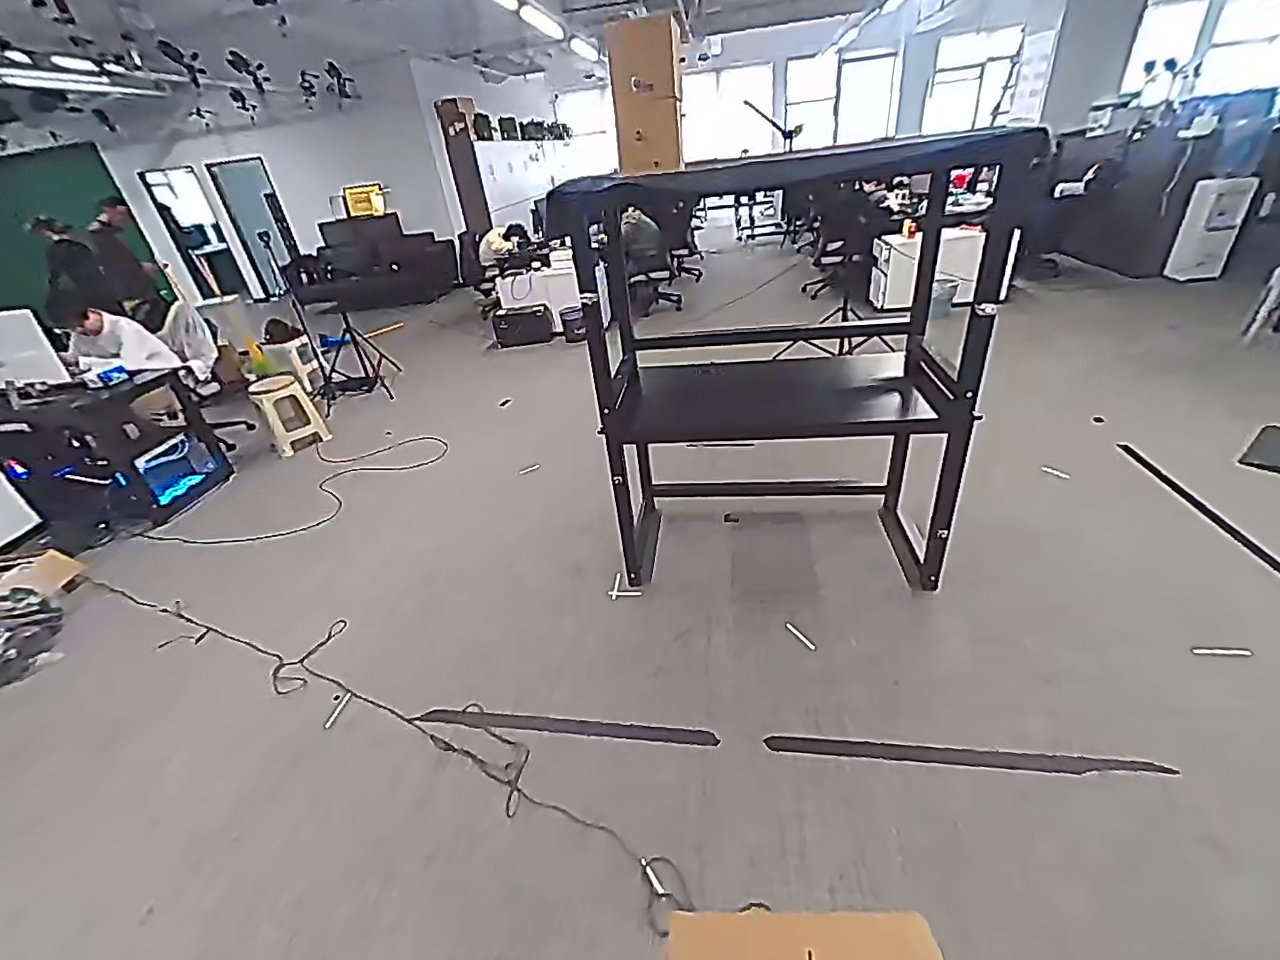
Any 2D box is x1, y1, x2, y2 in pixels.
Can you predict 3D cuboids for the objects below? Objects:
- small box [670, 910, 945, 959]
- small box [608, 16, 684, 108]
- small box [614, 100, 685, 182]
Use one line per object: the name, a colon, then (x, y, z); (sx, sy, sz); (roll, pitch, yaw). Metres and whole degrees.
small box: (0.102, 0.389, 0.307); (0.168, 0.176, 0.179); (0, 26, 1)
small box: (0.022, -1.063, 1.399); (0.168, 0.176, 0.179); (-1, 30, 12)
small box: (0.034, -0.922, 1.479); (0.168, 0.176, 0.179); (-1, 29, 9)
